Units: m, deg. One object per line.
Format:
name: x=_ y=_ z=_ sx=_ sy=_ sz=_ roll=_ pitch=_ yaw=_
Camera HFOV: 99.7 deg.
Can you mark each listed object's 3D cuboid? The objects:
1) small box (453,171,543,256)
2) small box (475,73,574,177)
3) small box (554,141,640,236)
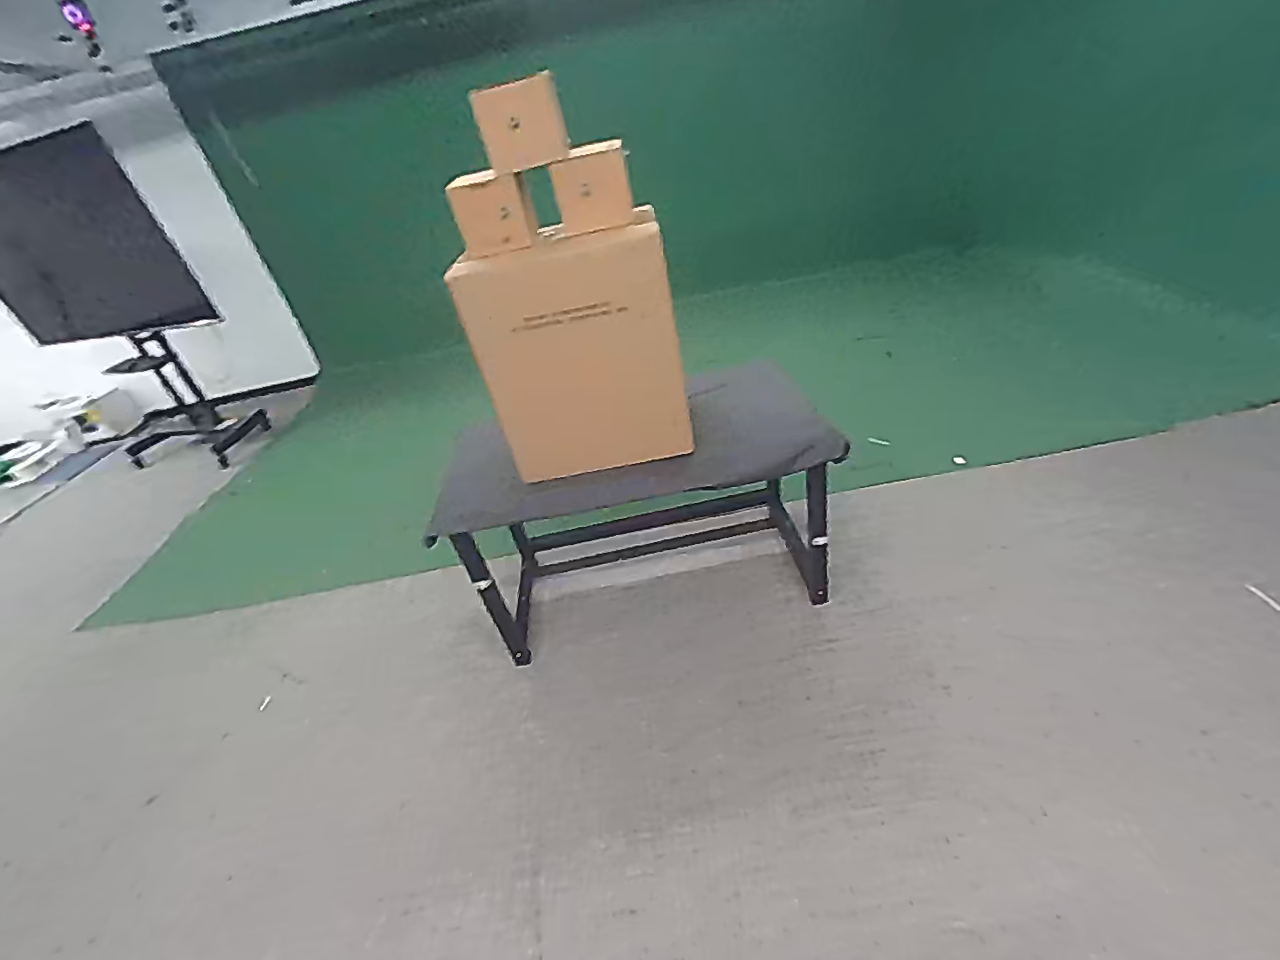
small box: x=-0.355 y=-0.689 z=1.391 sx=0.168 sy=0.176 sz=0.179 roll=-9 pitch=36 yaw=3
small box: x=-0.263 y=-0.840 z=1.282 sx=0.179 sy=0.176 sz=0.168 roll=-12 pitch=37 yaw=5
small box: x=-0.104 y=-0.736 z=1.370 sx=0.179 sy=0.176 sz=0.168 roll=-10 pitch=38 yaw=6
